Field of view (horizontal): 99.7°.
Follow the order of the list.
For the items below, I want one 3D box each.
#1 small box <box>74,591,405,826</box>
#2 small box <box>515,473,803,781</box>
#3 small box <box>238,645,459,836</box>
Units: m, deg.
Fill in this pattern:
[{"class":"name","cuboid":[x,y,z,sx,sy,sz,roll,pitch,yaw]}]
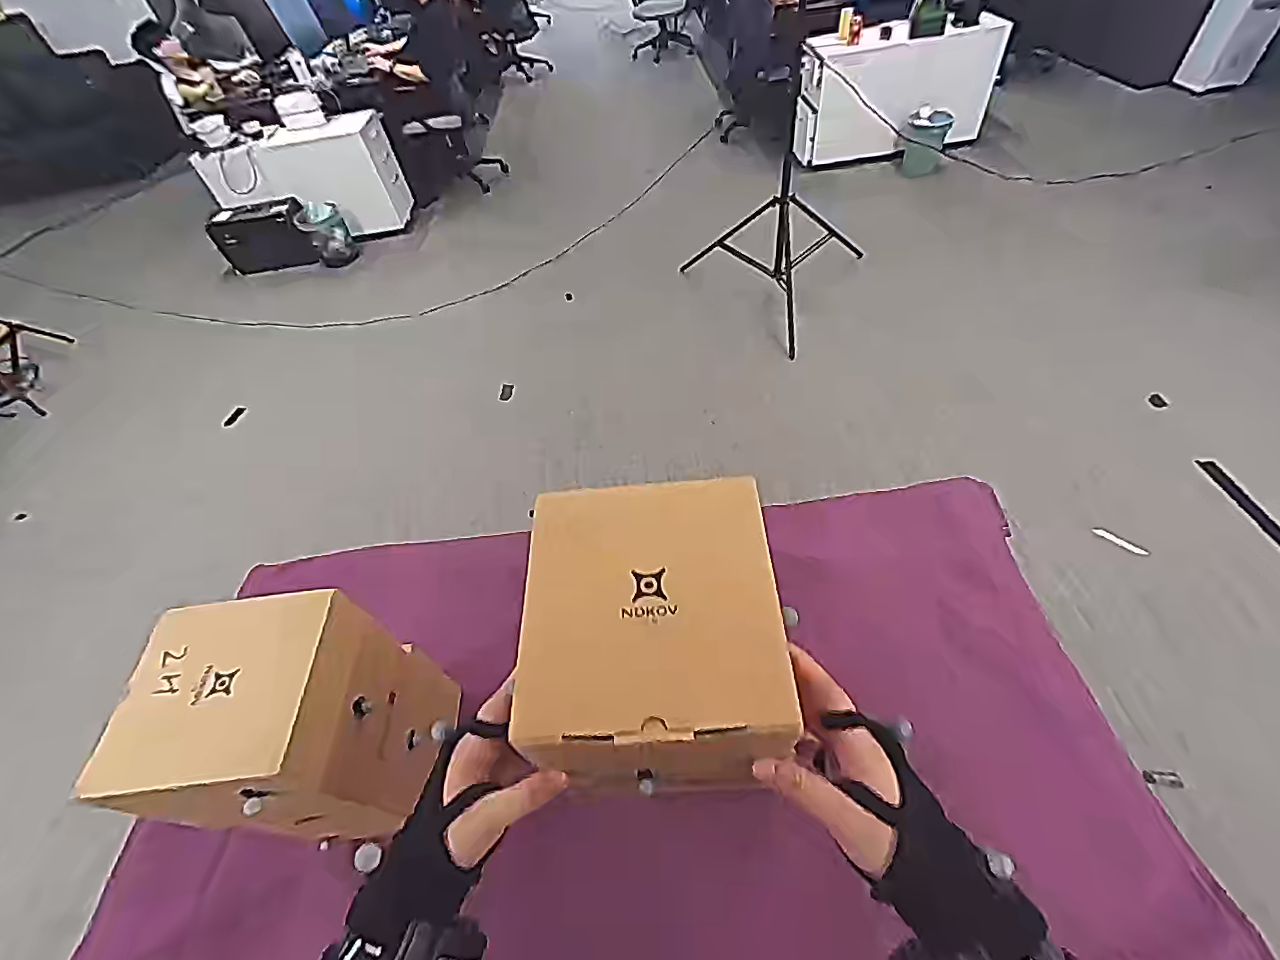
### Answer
[{"class":"small box","cuboid":[-0.361,0.230,0.536,0.179,0.176,0.168,-8,50,2]},{"class":"small box","cuboid":[0.014,0.117,0.416,0.168,0.176,0.179,-5,53,3]},{"class":"small box","cuboid":[-0.340,0.327,0.668,0.168,0.176,0.179,-7,49,2]}]
